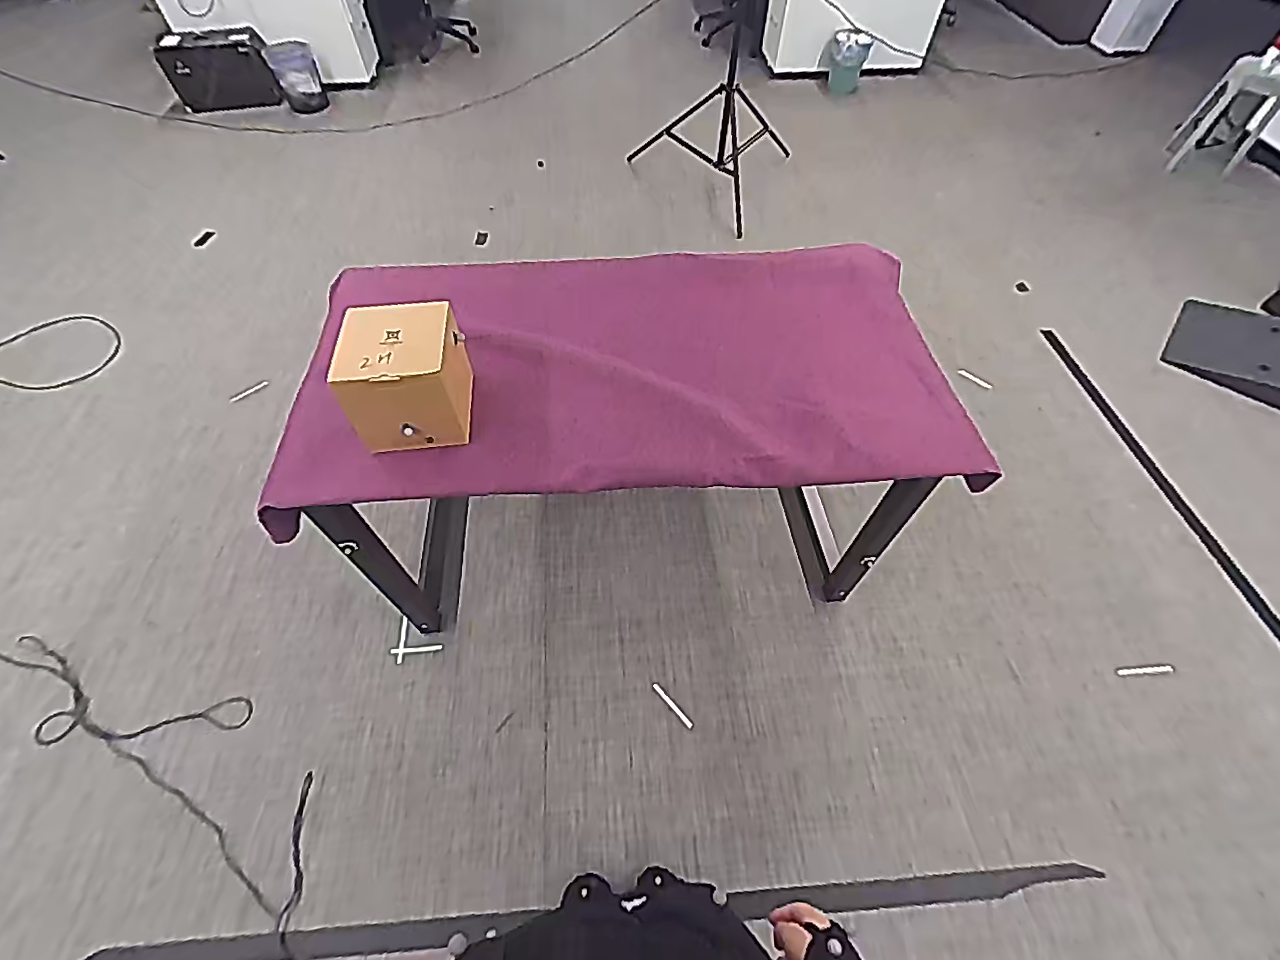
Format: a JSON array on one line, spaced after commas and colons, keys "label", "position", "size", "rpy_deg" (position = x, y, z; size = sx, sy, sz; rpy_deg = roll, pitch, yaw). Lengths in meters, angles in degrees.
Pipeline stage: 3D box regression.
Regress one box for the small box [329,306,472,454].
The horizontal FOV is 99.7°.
[{"label": "small box", "position": [-0.388, -0.167, 0.913], "size": [0.168, 0.176, 0.179], "rpy_deg": [-6, 55, -5]}]
